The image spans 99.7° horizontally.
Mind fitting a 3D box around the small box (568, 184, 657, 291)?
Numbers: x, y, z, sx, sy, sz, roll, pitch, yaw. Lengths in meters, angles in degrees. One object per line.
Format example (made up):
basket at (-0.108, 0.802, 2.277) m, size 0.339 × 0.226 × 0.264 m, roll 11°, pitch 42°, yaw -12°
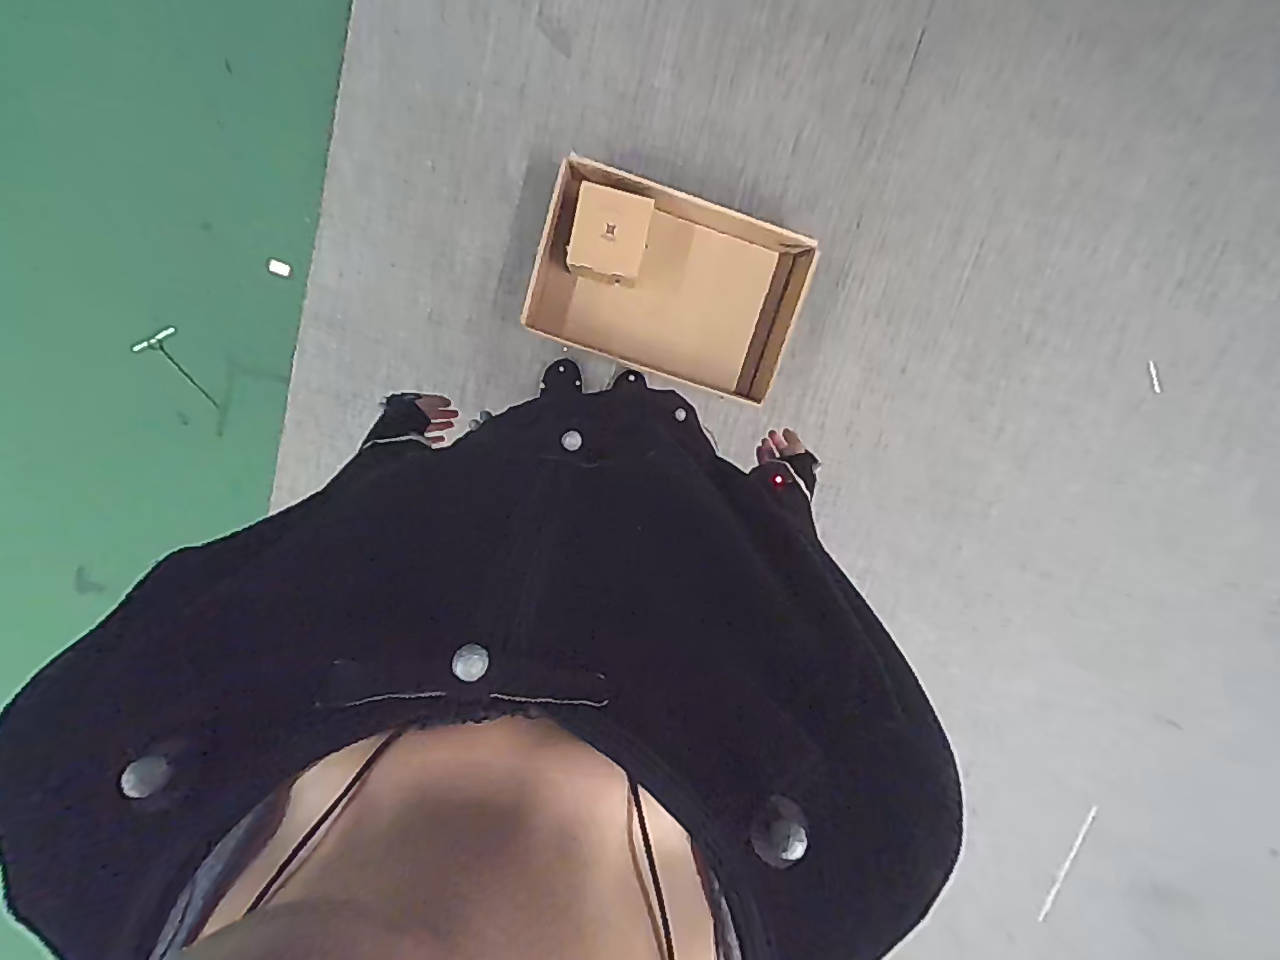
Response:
small box at (-0.063, -0.554, 1.262) m, size 0.168 × 0.176 × 0.179 m, roll 14°, pitch 102°, yaw -5°
